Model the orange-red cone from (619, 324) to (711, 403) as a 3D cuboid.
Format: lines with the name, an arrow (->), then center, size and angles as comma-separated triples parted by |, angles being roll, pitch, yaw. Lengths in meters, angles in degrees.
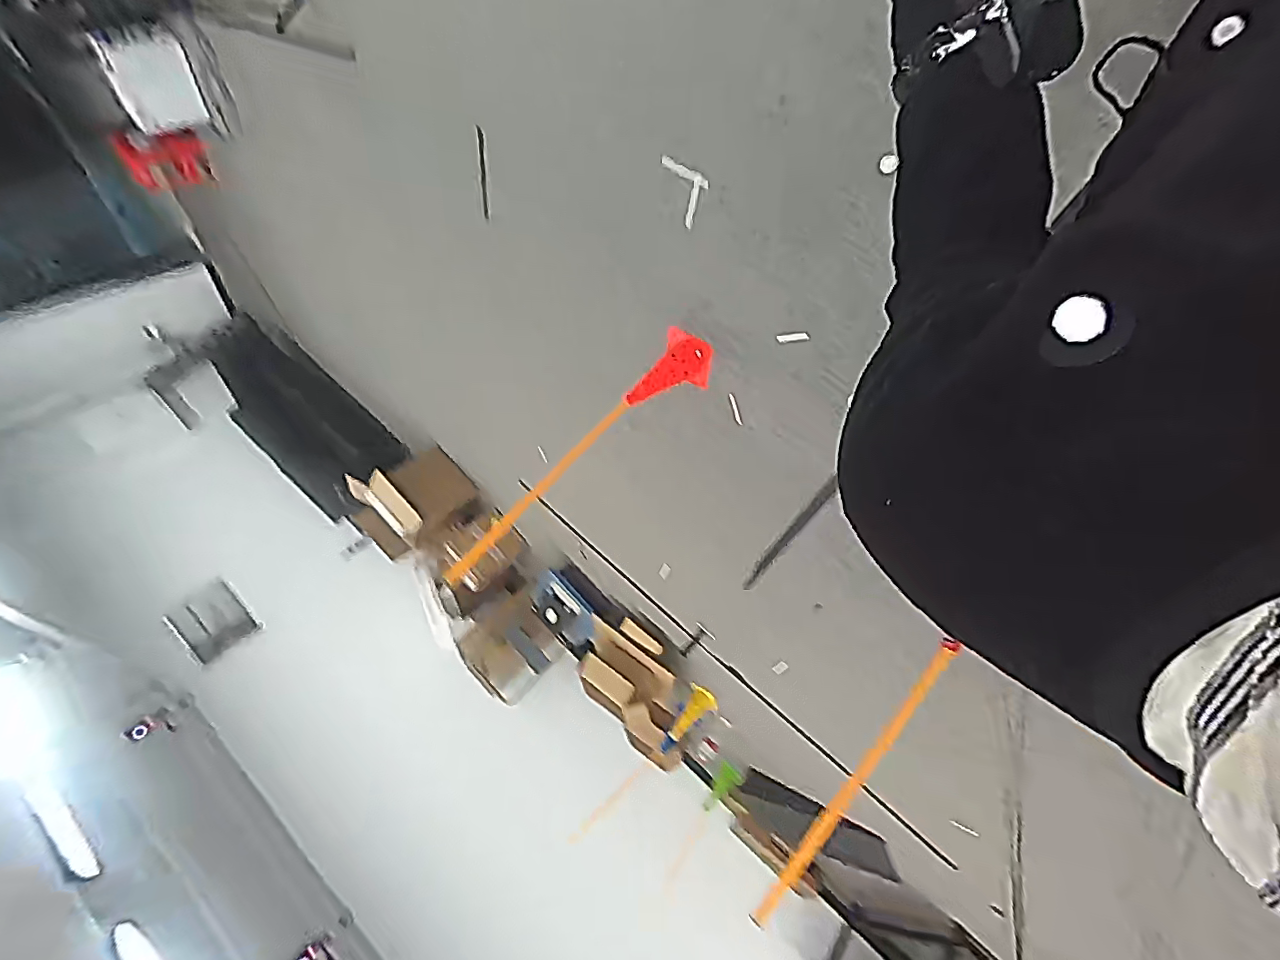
orange-red cone -> 0.057, -0.371, 1.917 | 0.199, 0.360, 0.198 | 36, 146, 23
